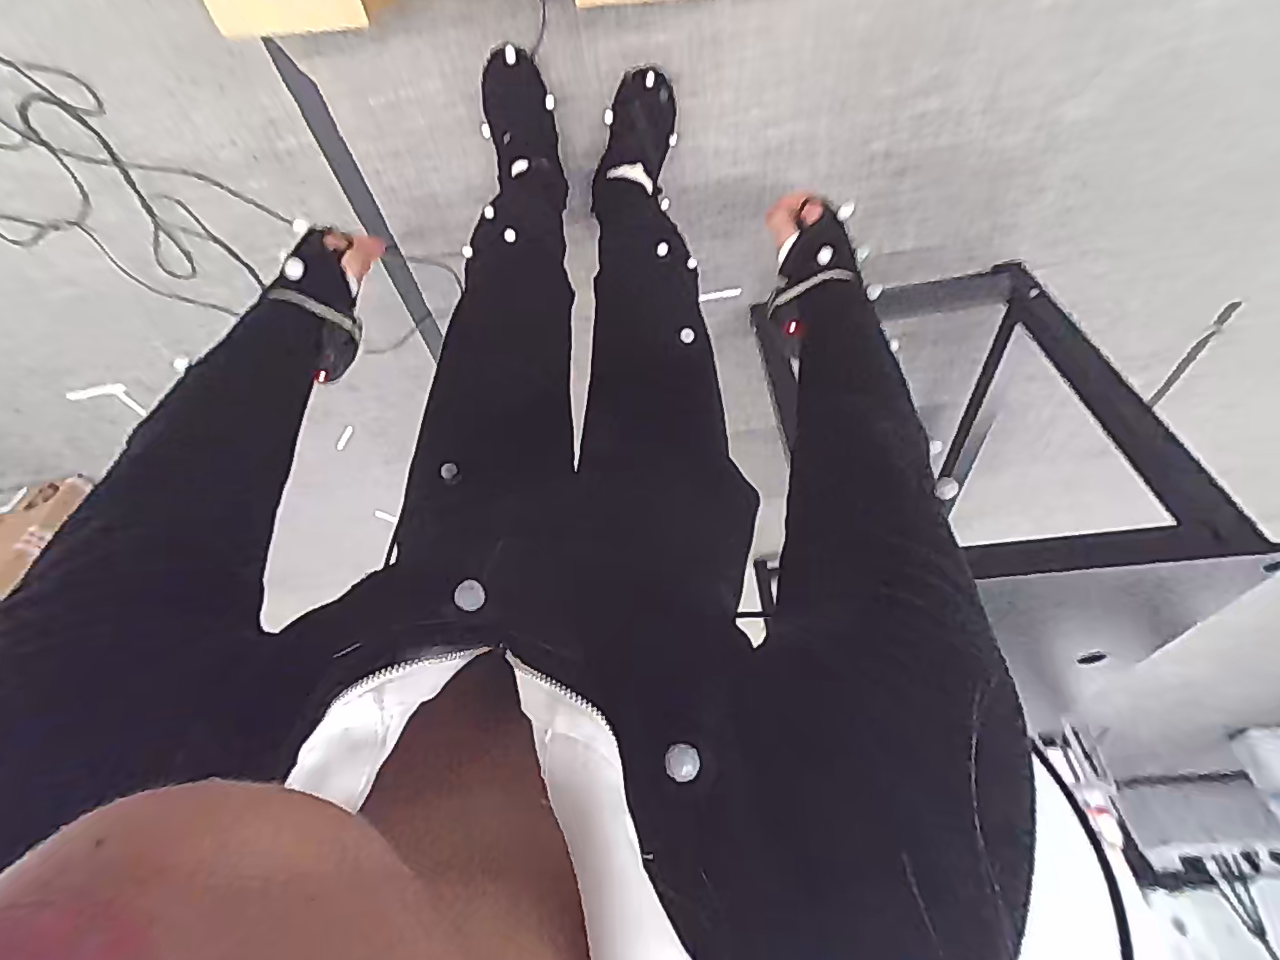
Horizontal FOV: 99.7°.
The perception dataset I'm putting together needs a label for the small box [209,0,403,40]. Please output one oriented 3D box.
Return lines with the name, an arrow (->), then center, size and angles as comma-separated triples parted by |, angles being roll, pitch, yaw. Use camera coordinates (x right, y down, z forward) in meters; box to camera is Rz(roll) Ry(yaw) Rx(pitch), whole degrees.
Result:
small box -> -0.375, -0.603, 0.574 | 0.168, 0.176, 0.179 | -3, 141, 3
